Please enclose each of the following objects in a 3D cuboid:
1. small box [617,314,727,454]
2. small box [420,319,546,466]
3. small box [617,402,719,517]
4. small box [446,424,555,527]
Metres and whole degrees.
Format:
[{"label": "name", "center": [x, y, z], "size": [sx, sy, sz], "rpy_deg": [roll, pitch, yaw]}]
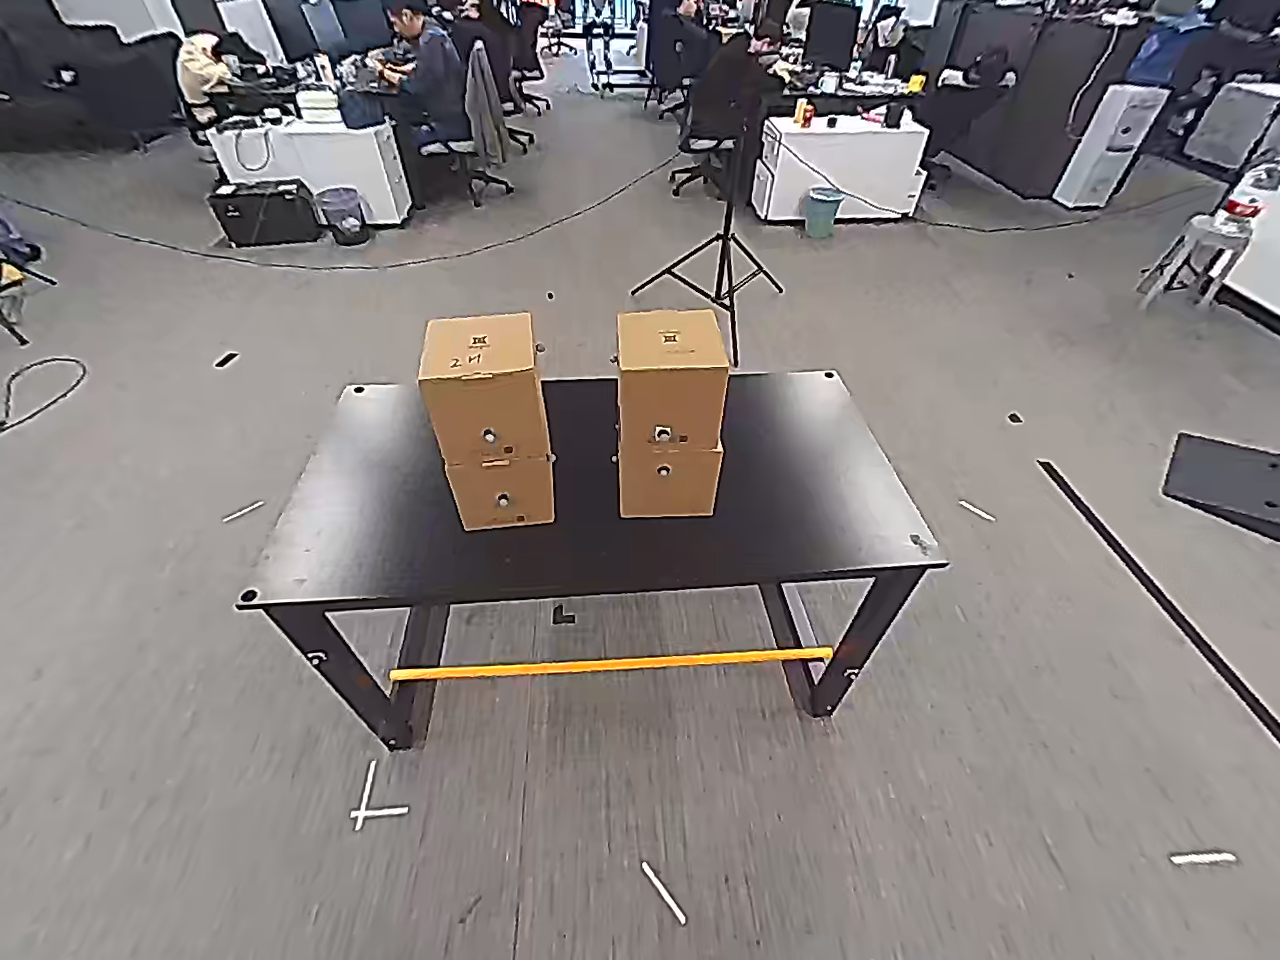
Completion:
[{"label": "small box", "center": [0.045, -0.164, 0.923], "size": [0.168, 0.176, 0.179], "rpy_deg": [-3, 46, -2]}, {"label": "small box", "center": [-0.250, -0.147, 0.898], "size": [0.168, 0.176, 0.179], "rpy_deg": [-7, 45, -7]}, {"label": "small box", "center": [0.046, -0.043, 1.031], "size": [0.179, 0.176, 0.168], "rpy_deg": [-1, 45, -3]}, {"label": "small box", "center": [-0.252, -0.026, 1.012], "size": [0.168, 0.176, 0.179], "rpy_deg": [-6, 46, -6]}]
